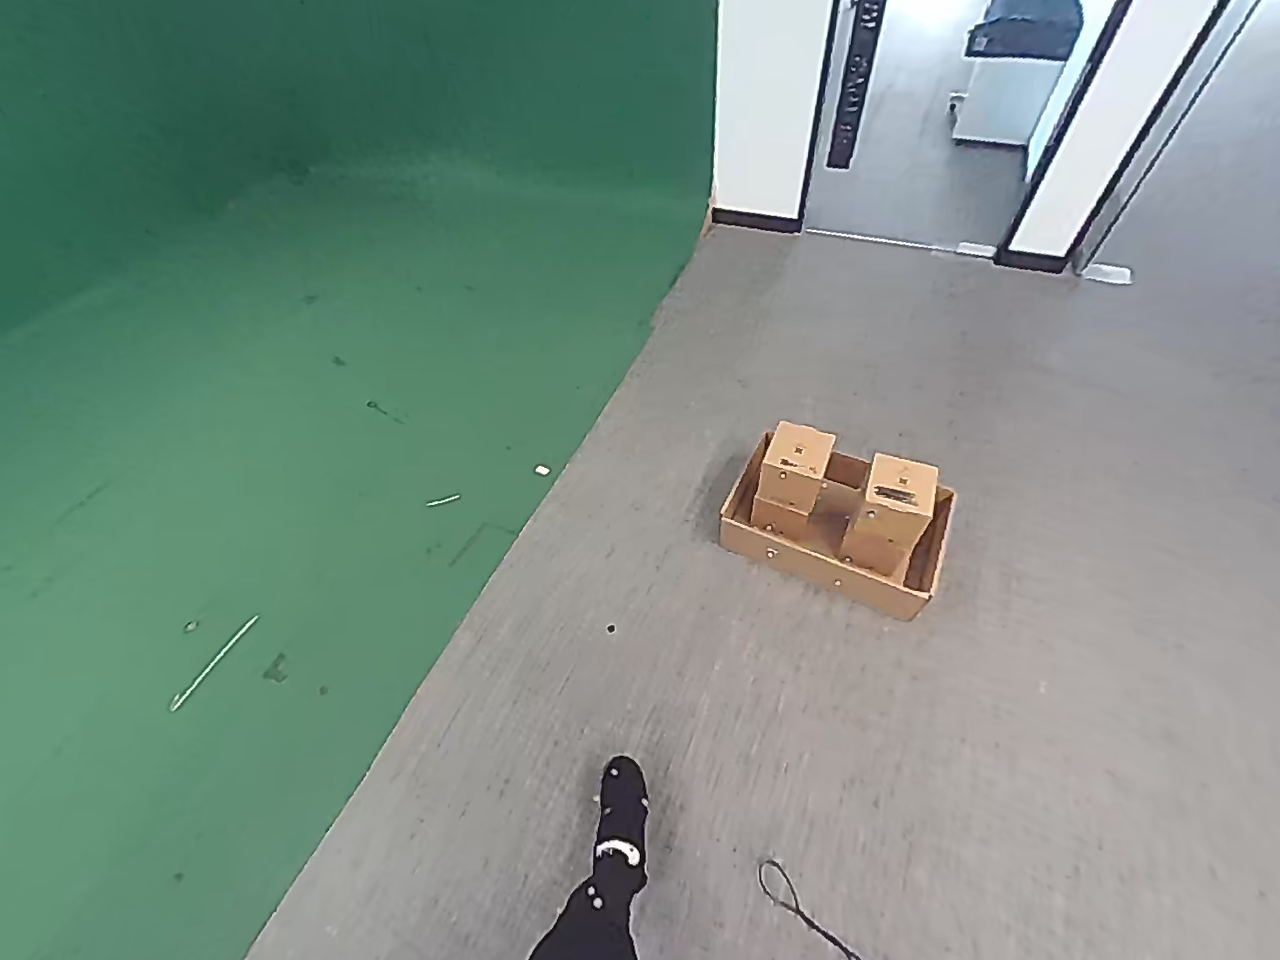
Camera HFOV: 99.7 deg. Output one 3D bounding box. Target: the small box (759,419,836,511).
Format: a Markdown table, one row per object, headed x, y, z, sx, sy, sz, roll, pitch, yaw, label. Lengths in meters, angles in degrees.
| x | y | z | sx | sy | sz | roll | pitch | yaw | label |
| --- | --- | --- | --- | --- | --- | --- | --- | --- | --- |
| 0.454 | -0.043 | 1.580 | 0.168 | 0.176 | 0.179 | 18 | 56 | 19 | small box |
